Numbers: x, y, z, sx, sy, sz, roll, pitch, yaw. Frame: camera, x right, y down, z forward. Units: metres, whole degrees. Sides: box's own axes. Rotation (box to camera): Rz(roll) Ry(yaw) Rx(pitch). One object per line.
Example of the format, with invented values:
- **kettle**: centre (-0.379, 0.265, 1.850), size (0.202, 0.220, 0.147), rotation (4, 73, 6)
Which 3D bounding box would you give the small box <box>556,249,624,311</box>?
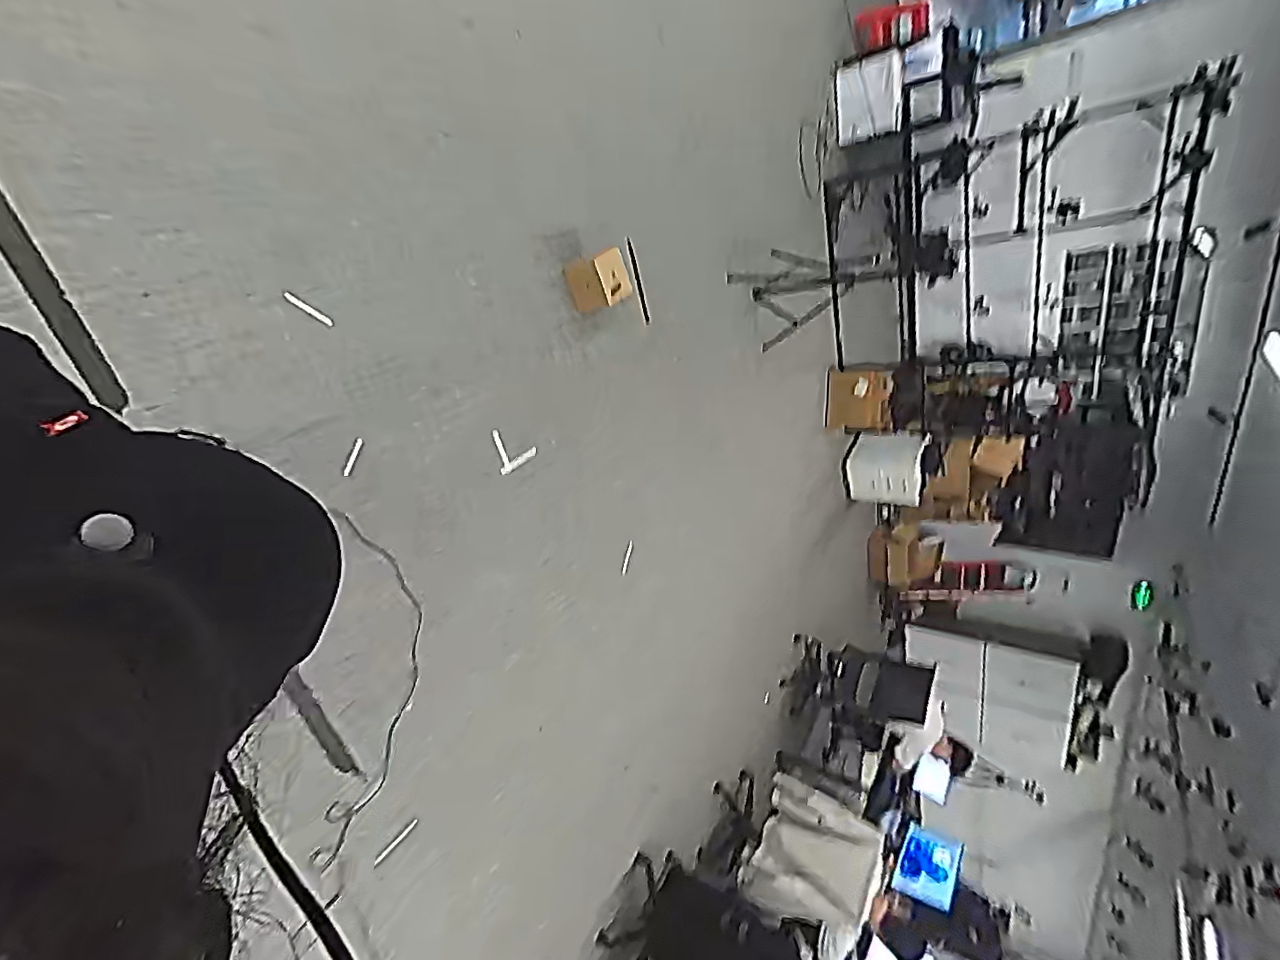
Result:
- **small box**: centre (-0.194, -0.769, 2.093), size (0.168, 0.176, 0.179), rotation (-48, 129, -39)
